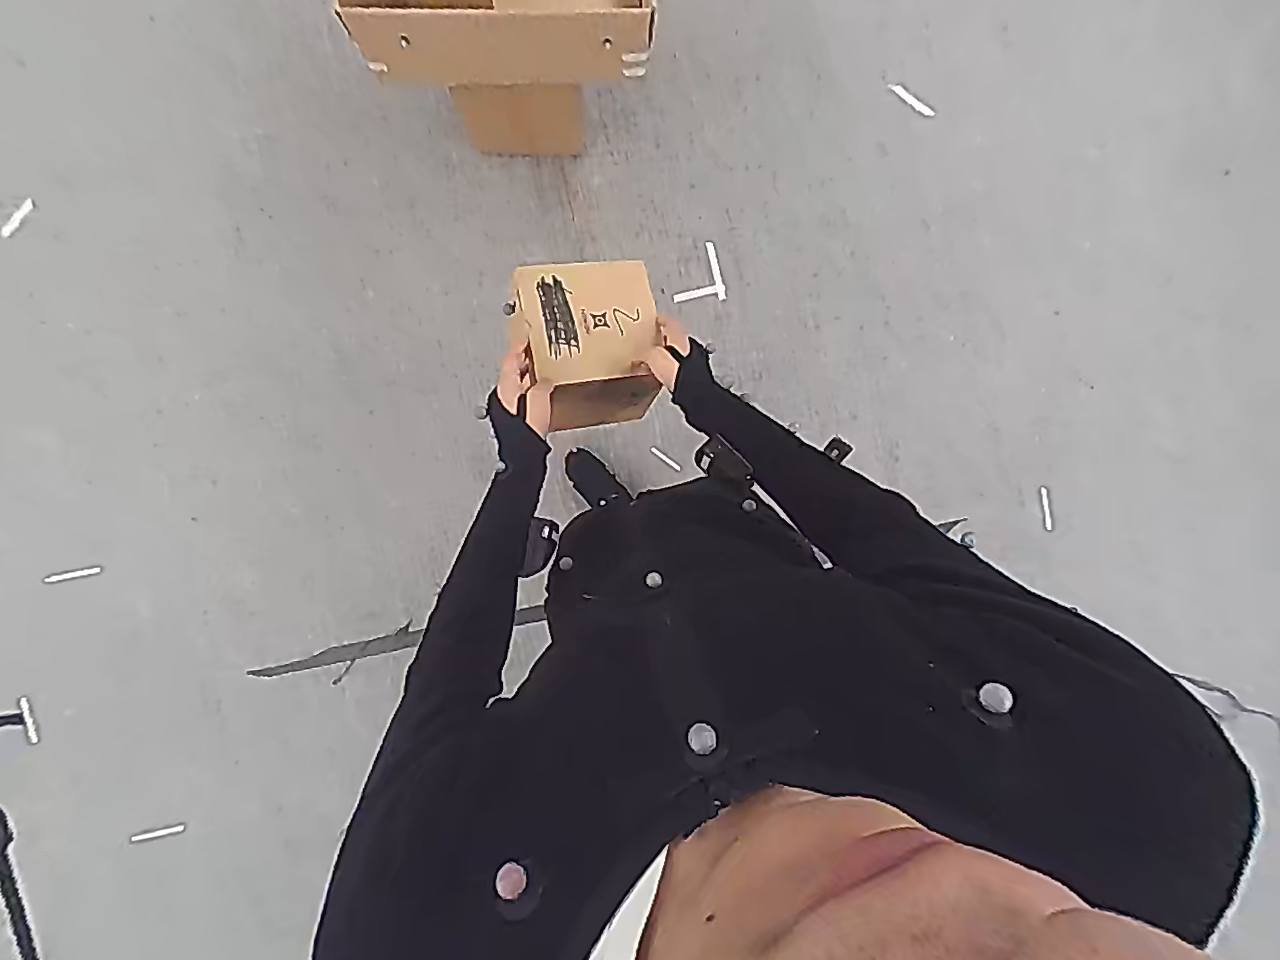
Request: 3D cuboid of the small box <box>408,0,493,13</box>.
[{"bbox_3d":[-0.403,-1.076,1.073,0.179,0.176,0.168,-6,93,-4],"label":"small box"}]
